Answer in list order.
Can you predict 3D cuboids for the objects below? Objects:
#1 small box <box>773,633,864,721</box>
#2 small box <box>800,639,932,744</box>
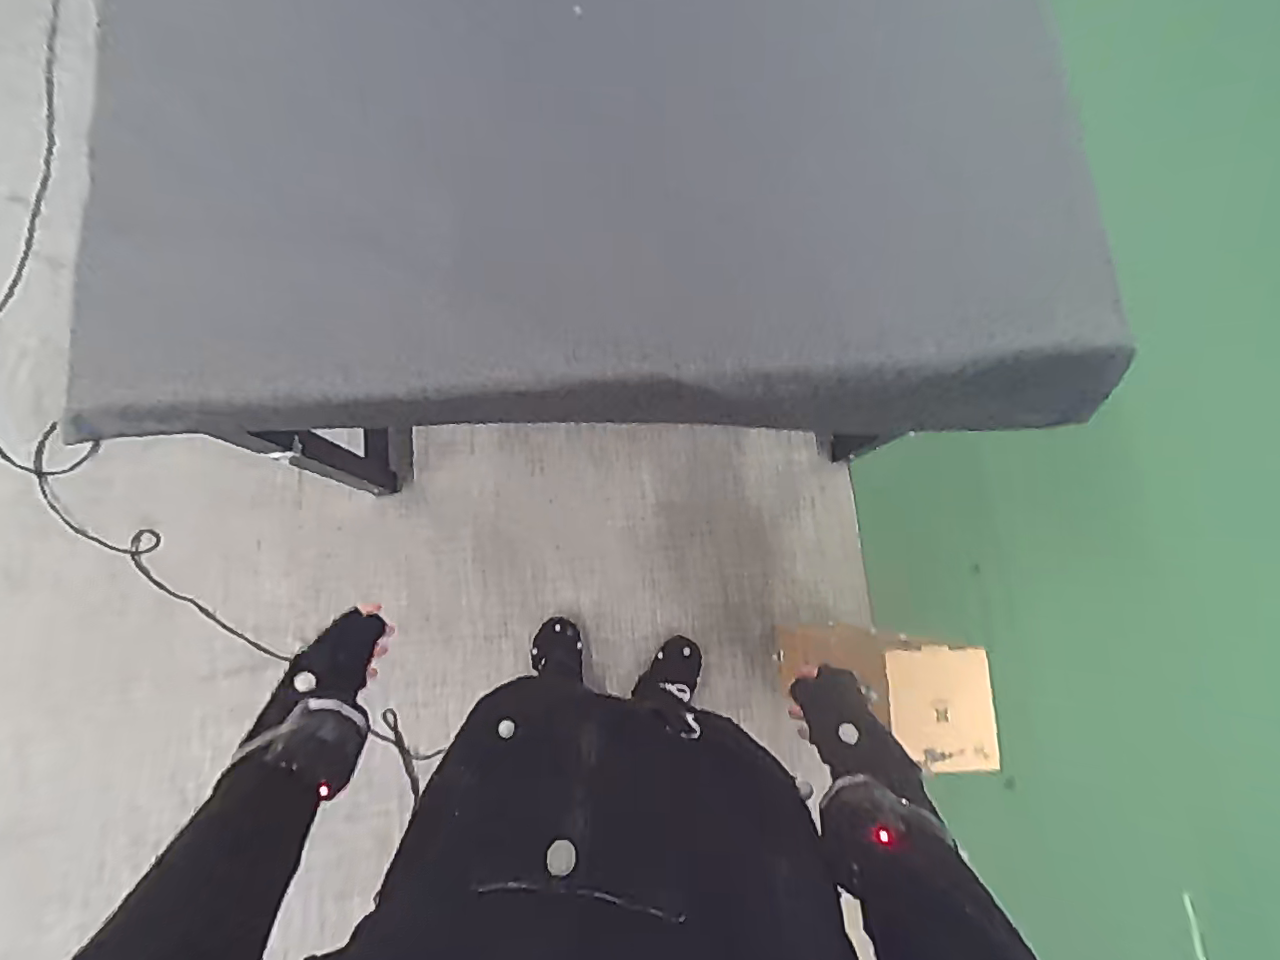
[{"bbox_3d":[0.411,0.432,1.208,0.179,0.176,0.168,0,78,-3],"label":"small box"},{"bbox_3d":[0.427,0.400,1.046,0.179,0.176,0.168,1,78,-3],"label":"small box"}]
